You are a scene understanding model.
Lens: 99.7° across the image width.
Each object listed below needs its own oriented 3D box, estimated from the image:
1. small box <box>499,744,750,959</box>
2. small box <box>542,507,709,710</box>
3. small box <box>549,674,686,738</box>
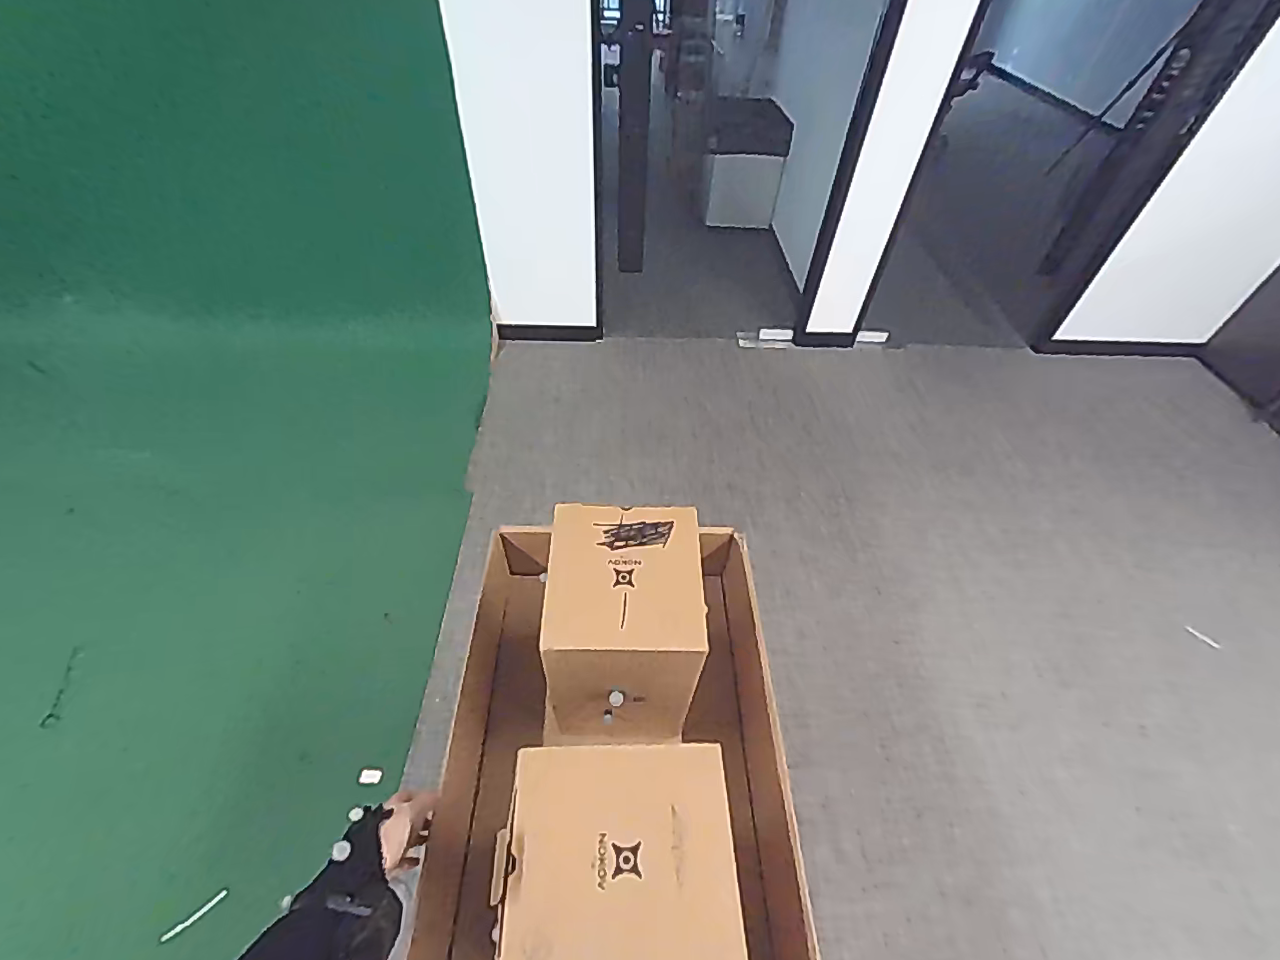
[{"bbox_3d":[-0.016,0.344,0.470,0.179,0.176,0.168,0,48,-4],"label":"small box"},{"bbox_3d":[-0.017,0.152,0.635,0.168,0.176,0.179,1,51,-2],"label":"small box"},{"bbox_3d":[-0.024,0.255,0.763,0.179,0.176,0.168,1,50,-1],"label":"small box"}]
